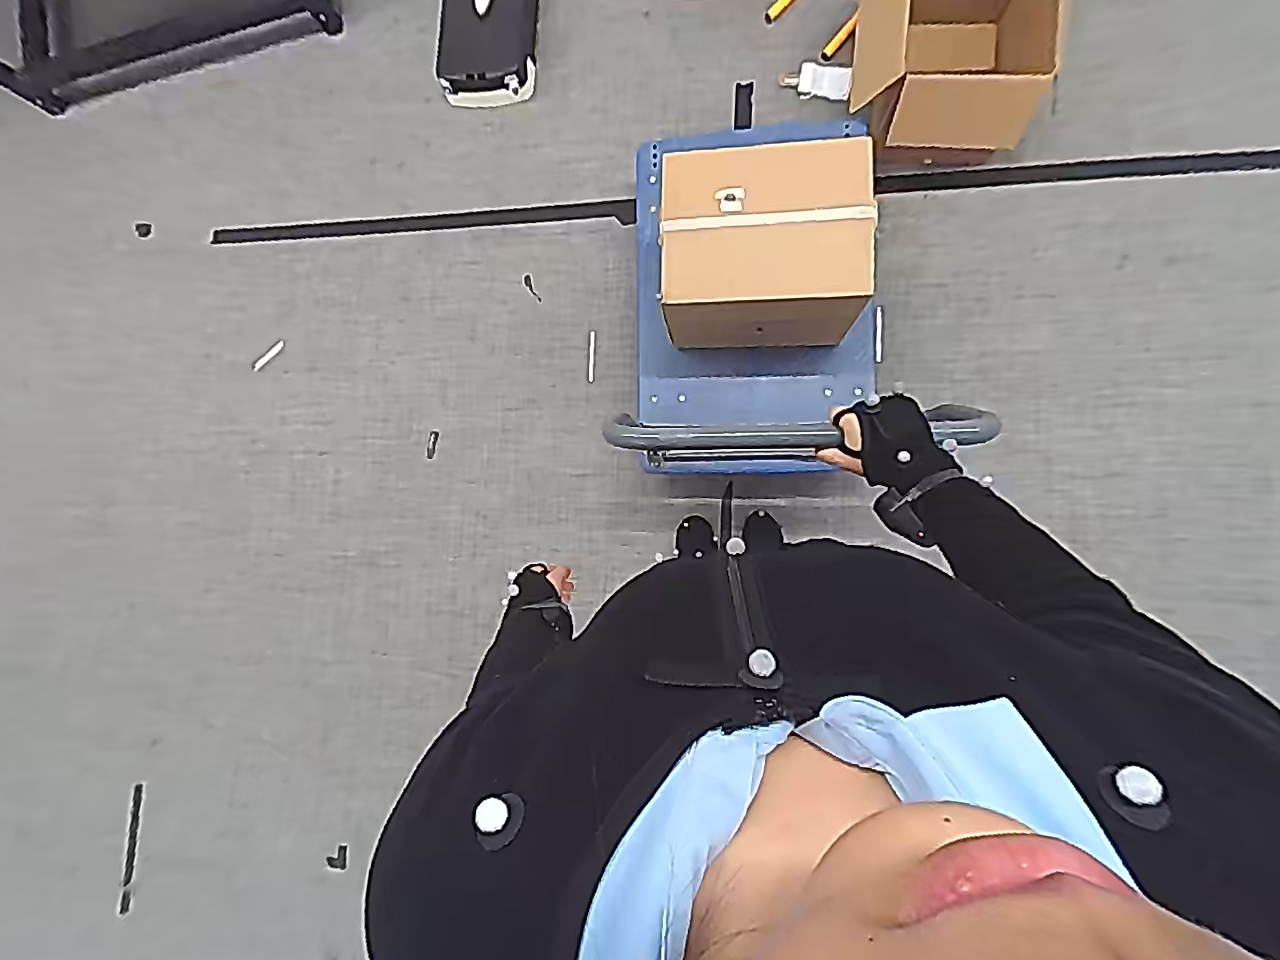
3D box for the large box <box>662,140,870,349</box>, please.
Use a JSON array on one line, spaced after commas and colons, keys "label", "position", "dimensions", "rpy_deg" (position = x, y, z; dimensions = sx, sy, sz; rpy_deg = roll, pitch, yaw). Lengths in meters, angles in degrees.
[{"label": "large box", "position": [0.269, -0.496, 1.216], "dimensions": [0.408, 0.320, 0.320], "rpy_deg": [0, 86, 10]}]
